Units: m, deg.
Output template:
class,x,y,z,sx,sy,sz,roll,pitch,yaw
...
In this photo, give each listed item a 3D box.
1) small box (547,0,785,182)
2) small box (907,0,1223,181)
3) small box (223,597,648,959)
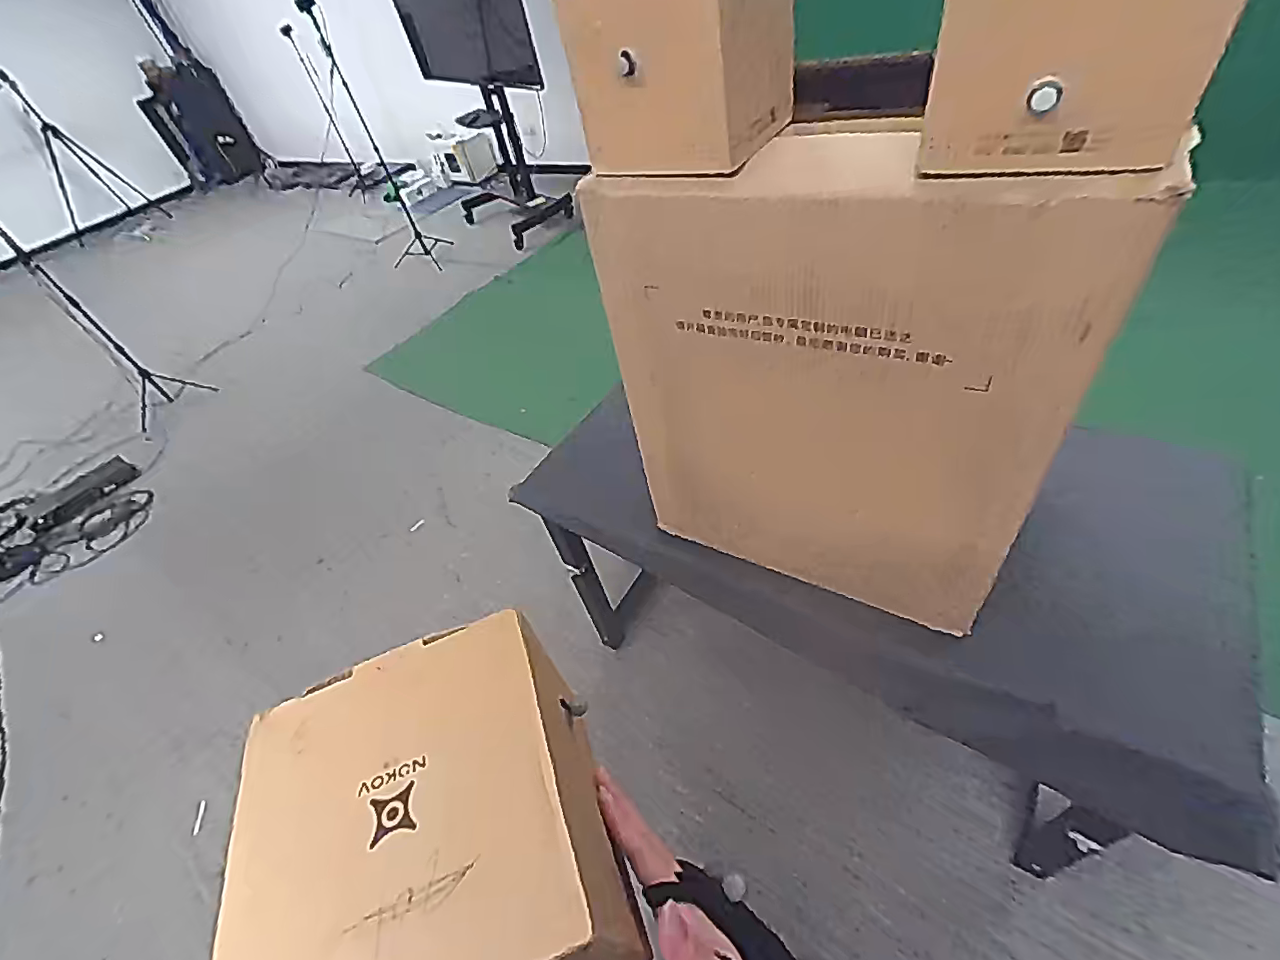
class,x,y,z,sx,sy,sz,roll,pitch,yaw
small box,0.039,-0.430,0.568,0.179,0.176,0.168,16,54,30
small box,0.317,-0.352,0.416,0.168,0.176,0.179,13,52,25
small box,-0.108,0.212,0.333,0.168,0.176,0.179,-22,46,-8
